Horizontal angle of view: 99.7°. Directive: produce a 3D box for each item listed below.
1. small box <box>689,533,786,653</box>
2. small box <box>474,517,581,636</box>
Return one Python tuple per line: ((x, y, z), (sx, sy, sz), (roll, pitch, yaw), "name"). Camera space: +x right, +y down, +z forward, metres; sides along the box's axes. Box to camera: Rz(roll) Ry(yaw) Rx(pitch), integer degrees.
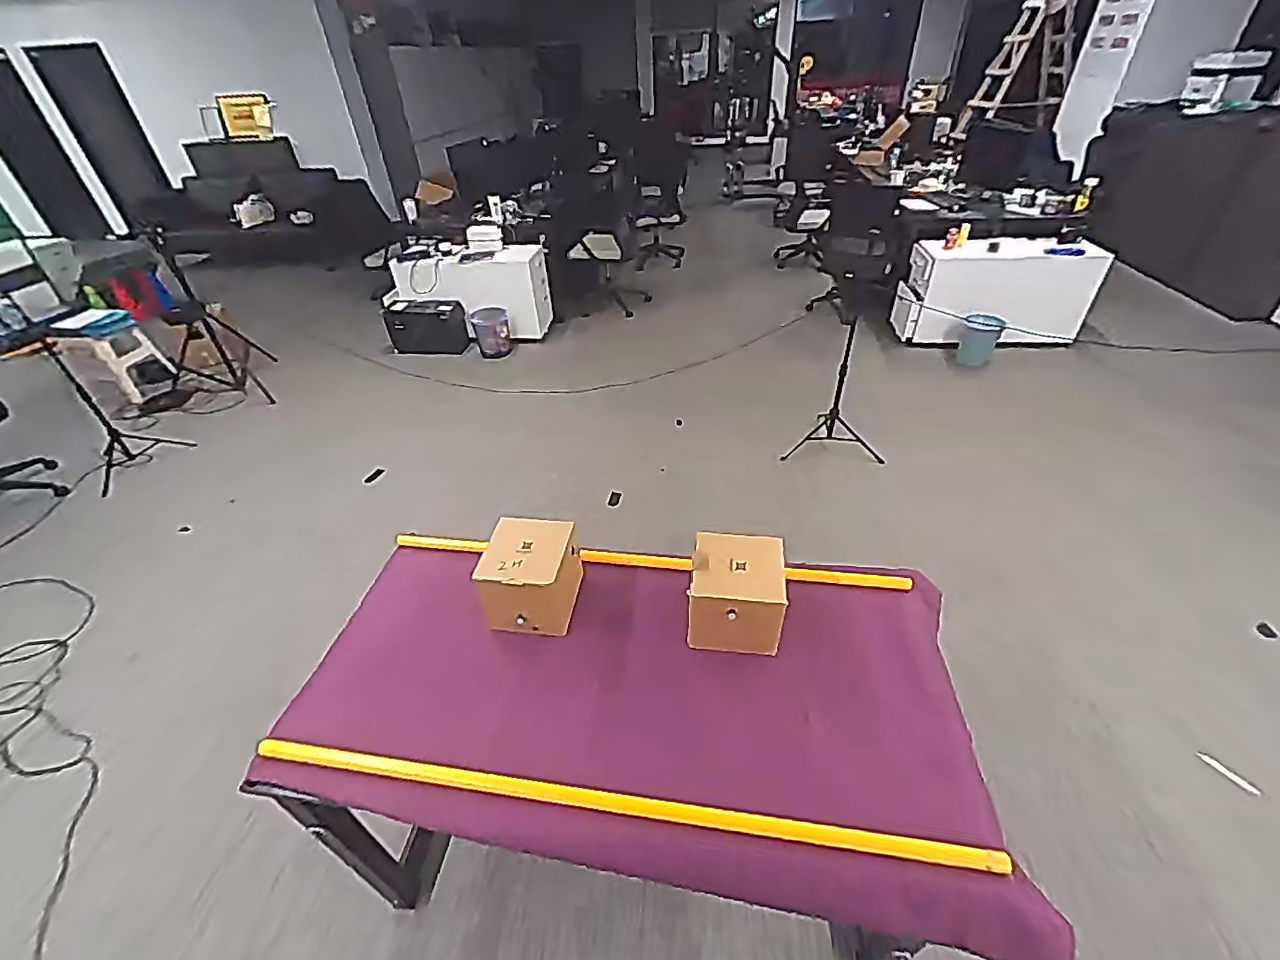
((0.192, 0.228, 1.087), (0.179, 0.176, 0.168), (3, 40, 9), "small box")
((-0.226, 0.203, 1.147), (0.168, 0.176, 0.179), (3, 40, 9), "small box")
